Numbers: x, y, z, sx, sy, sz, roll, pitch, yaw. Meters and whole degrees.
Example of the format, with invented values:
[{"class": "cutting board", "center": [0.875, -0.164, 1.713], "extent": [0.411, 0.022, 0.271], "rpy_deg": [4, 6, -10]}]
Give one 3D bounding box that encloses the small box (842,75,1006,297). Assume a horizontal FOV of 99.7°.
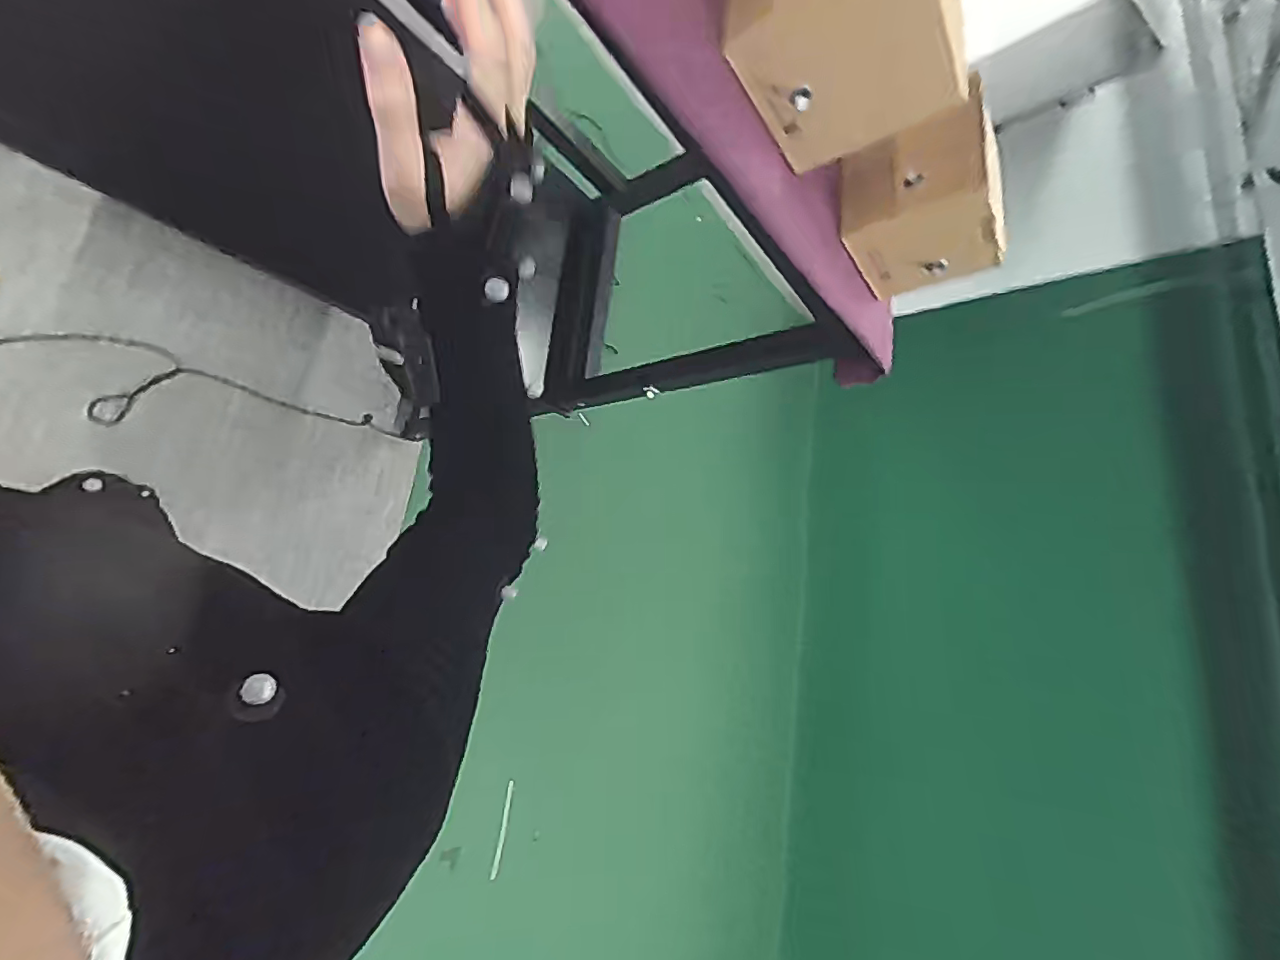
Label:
[{"class": "small box", "center": [0.384, -0.379, 0.737], "extent": [0.168, 0.176, 0.179], "rpy_deg": [25, 66, -47]}]
